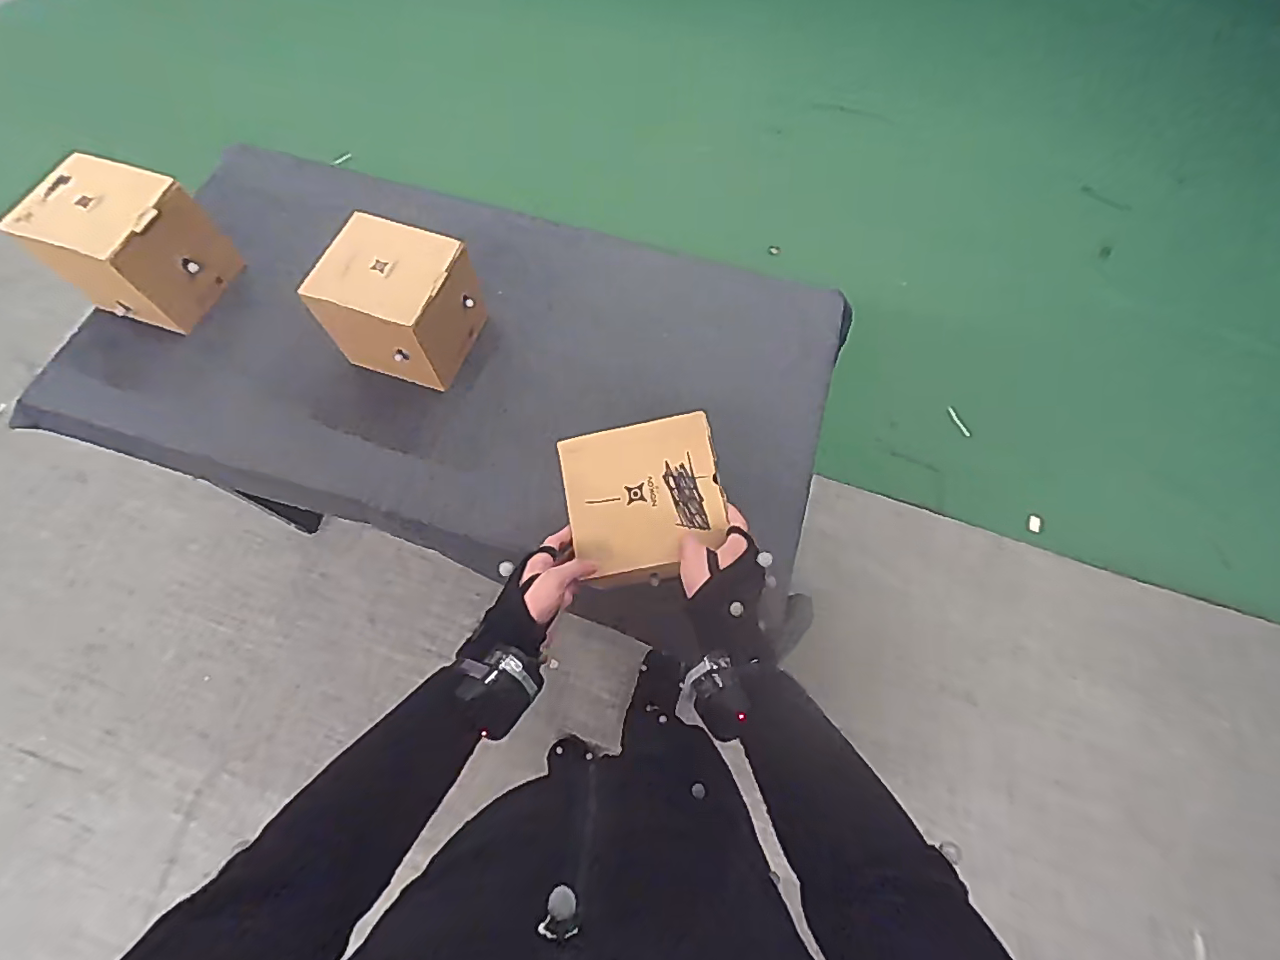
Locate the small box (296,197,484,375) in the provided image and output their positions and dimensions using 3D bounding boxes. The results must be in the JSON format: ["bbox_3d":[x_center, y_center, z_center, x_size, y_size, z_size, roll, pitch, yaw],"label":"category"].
[{"bbox_3d":[-0.359,-0.283,0.819,0.179,0.176,0.168,17,66,4],"label":"small box"}]

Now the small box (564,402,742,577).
[{"bbox_3d":[0.016,0.022,0.672,0.179,0.176,0.168,-11,75,2],"label":"small box"}]

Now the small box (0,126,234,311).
[{"bbox_3d":[-0.785,-0.388,0.828,0.179,0.176,0.168,18,67,2],"label":"small box"}]
